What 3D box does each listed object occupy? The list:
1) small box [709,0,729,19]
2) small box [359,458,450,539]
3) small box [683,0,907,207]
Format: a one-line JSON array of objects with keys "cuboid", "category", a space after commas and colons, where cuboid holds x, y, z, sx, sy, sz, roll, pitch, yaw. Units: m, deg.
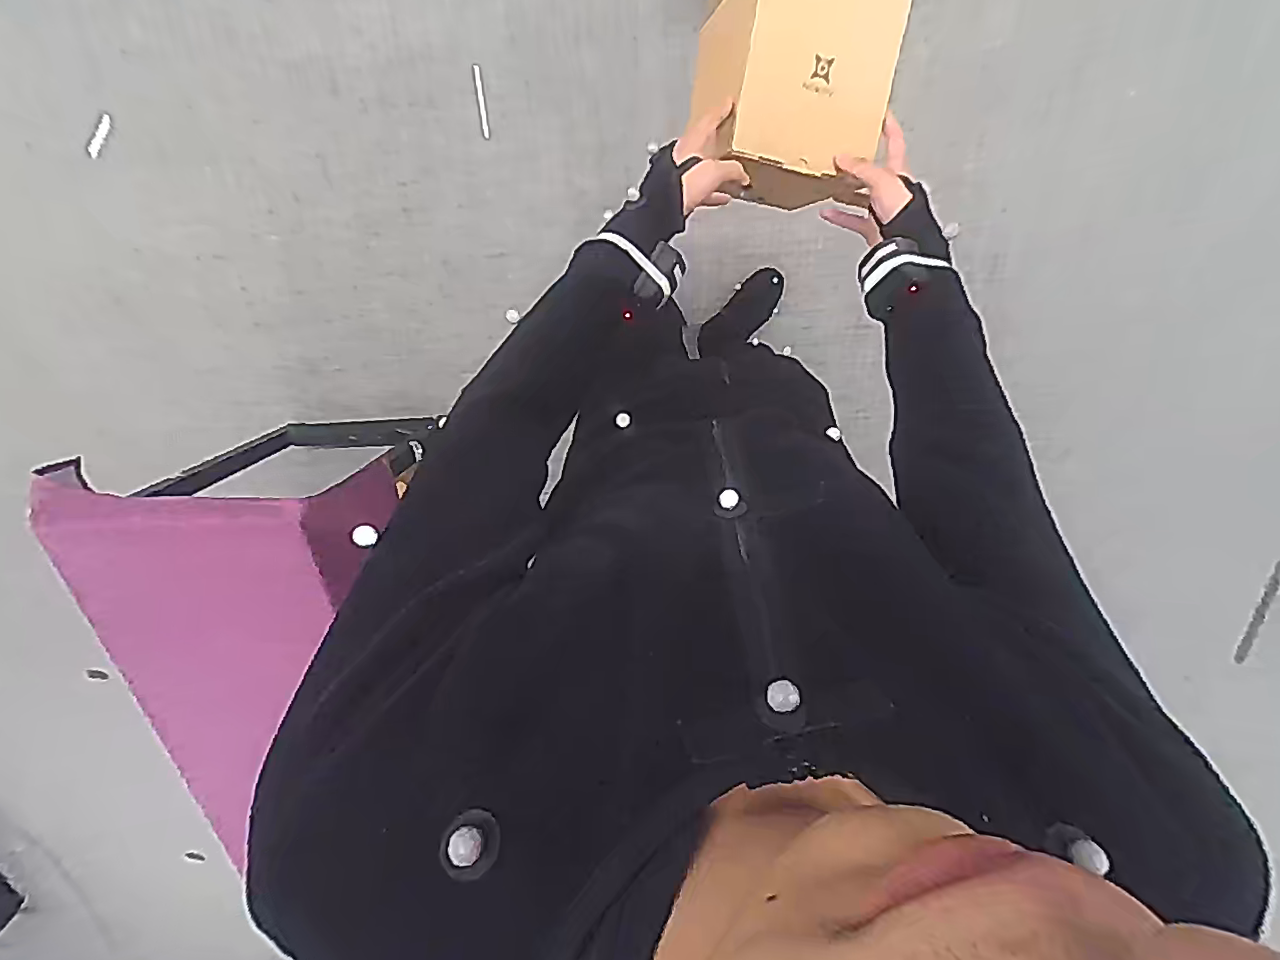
[{"cuboid": [0.230, -1.088, 1.112, 0.179, 0.176, 0.168, -3, 114, 9], "category": "small box"}, {"cuboid": [-0.756, 0.057, 1.753, 0.179, 0.176, 0.168, -29, 108, 19], "category": "small box"}, {"cuboid": [0.159, -0.431, 0.615, 0.168, 0.176, 0.179, 3, 107, -16], "category": "small box"}]
